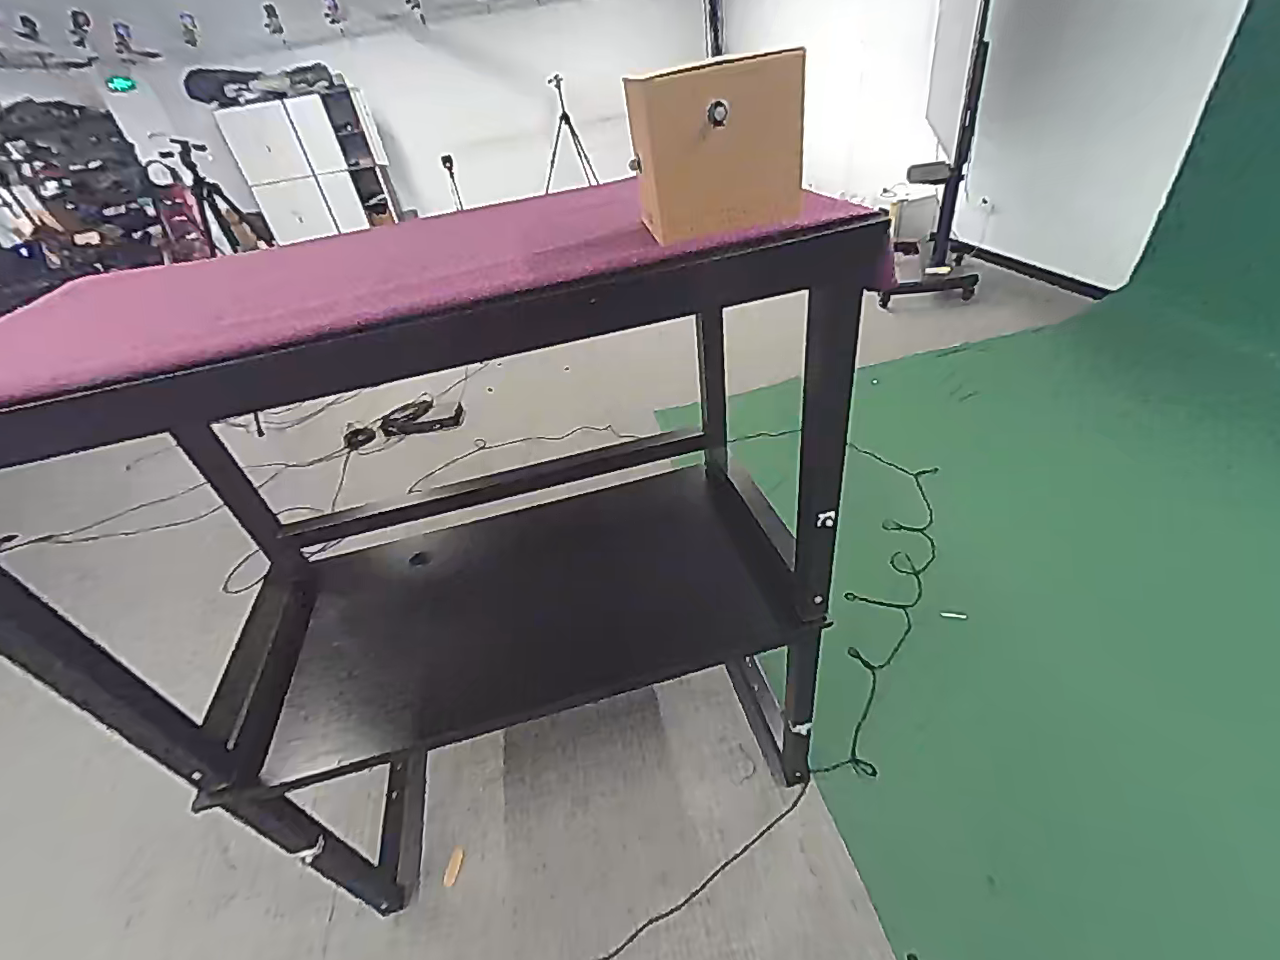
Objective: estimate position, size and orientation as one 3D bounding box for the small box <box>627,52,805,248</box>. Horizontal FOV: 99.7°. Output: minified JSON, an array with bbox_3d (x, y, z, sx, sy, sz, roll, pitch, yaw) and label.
[{"bbox_3d":[0.090,-0.400,0.663,0.179,0.176,0.168,-12,38,0],"label":"small box"}]
